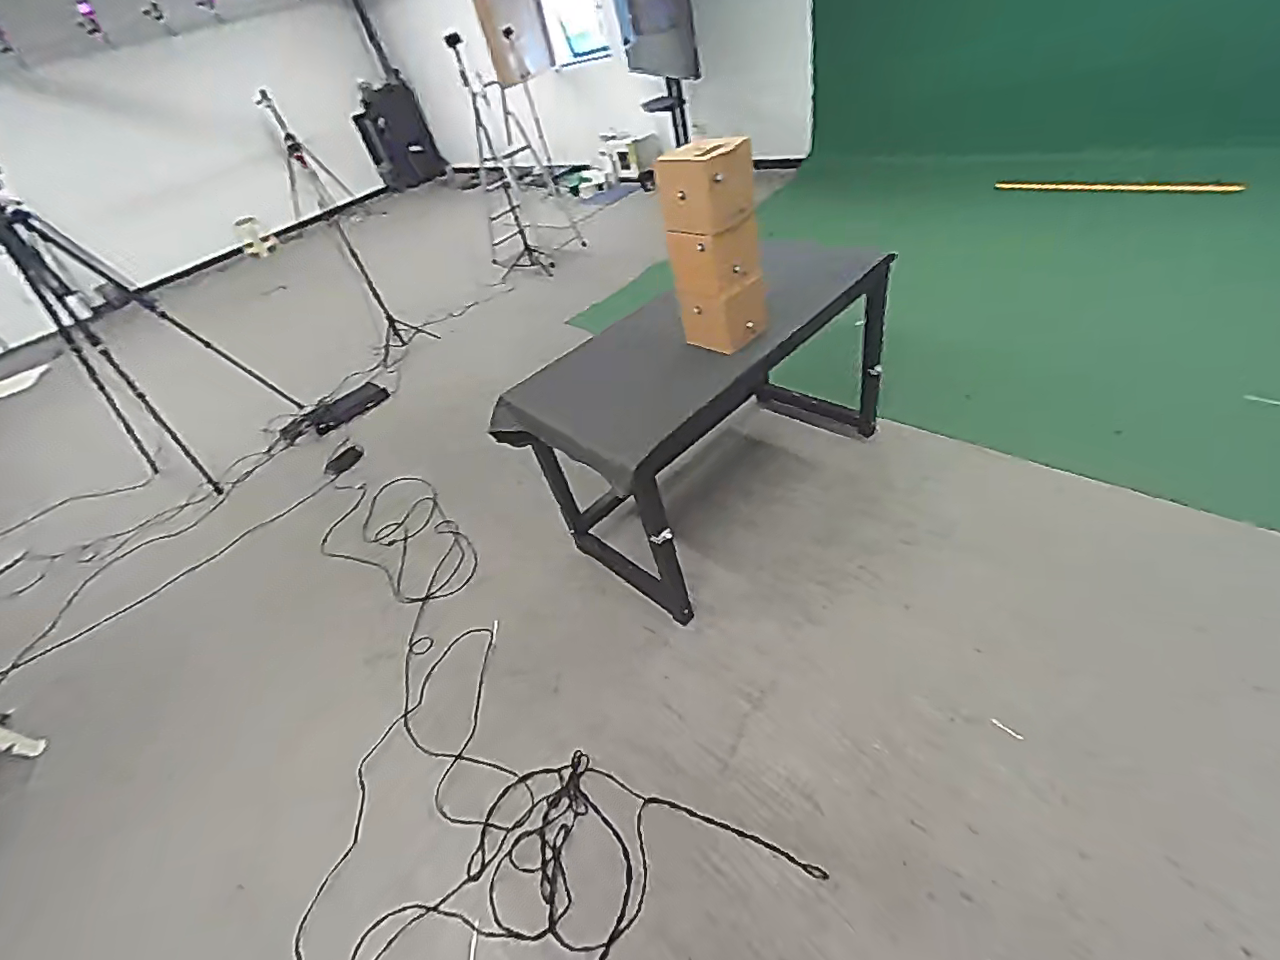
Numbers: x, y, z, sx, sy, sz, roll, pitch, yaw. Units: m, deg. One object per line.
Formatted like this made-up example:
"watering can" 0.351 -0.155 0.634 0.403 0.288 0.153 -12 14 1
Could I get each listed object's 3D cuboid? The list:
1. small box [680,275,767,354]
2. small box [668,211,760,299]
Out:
"small box" 0.244 -0.482 1.552 0.168 0.176 0.179 -39 45 -23
"small box" 0.202 -0.605 1.455 0.168 0.176 0.179 -38 44 -24
